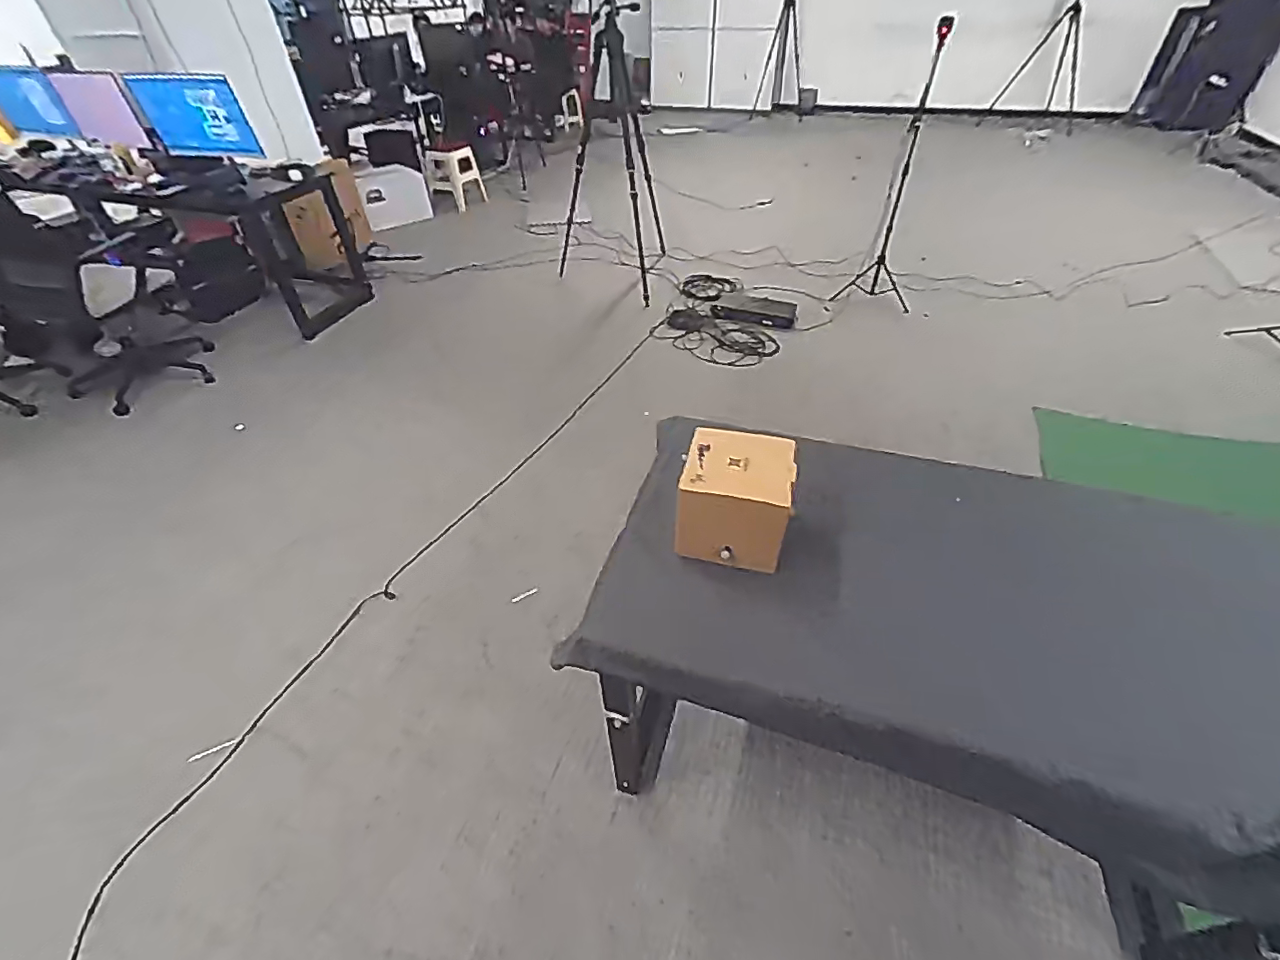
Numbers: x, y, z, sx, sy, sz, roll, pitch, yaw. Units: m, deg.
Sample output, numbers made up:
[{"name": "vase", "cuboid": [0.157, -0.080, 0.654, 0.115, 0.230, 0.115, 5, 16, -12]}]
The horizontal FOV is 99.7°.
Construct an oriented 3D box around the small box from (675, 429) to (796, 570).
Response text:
[{"name": "small box", "cuboid": [0.165, 0.036, 0.951, 0.179, 0.176, 0.168, 10, 44, 11]}]
